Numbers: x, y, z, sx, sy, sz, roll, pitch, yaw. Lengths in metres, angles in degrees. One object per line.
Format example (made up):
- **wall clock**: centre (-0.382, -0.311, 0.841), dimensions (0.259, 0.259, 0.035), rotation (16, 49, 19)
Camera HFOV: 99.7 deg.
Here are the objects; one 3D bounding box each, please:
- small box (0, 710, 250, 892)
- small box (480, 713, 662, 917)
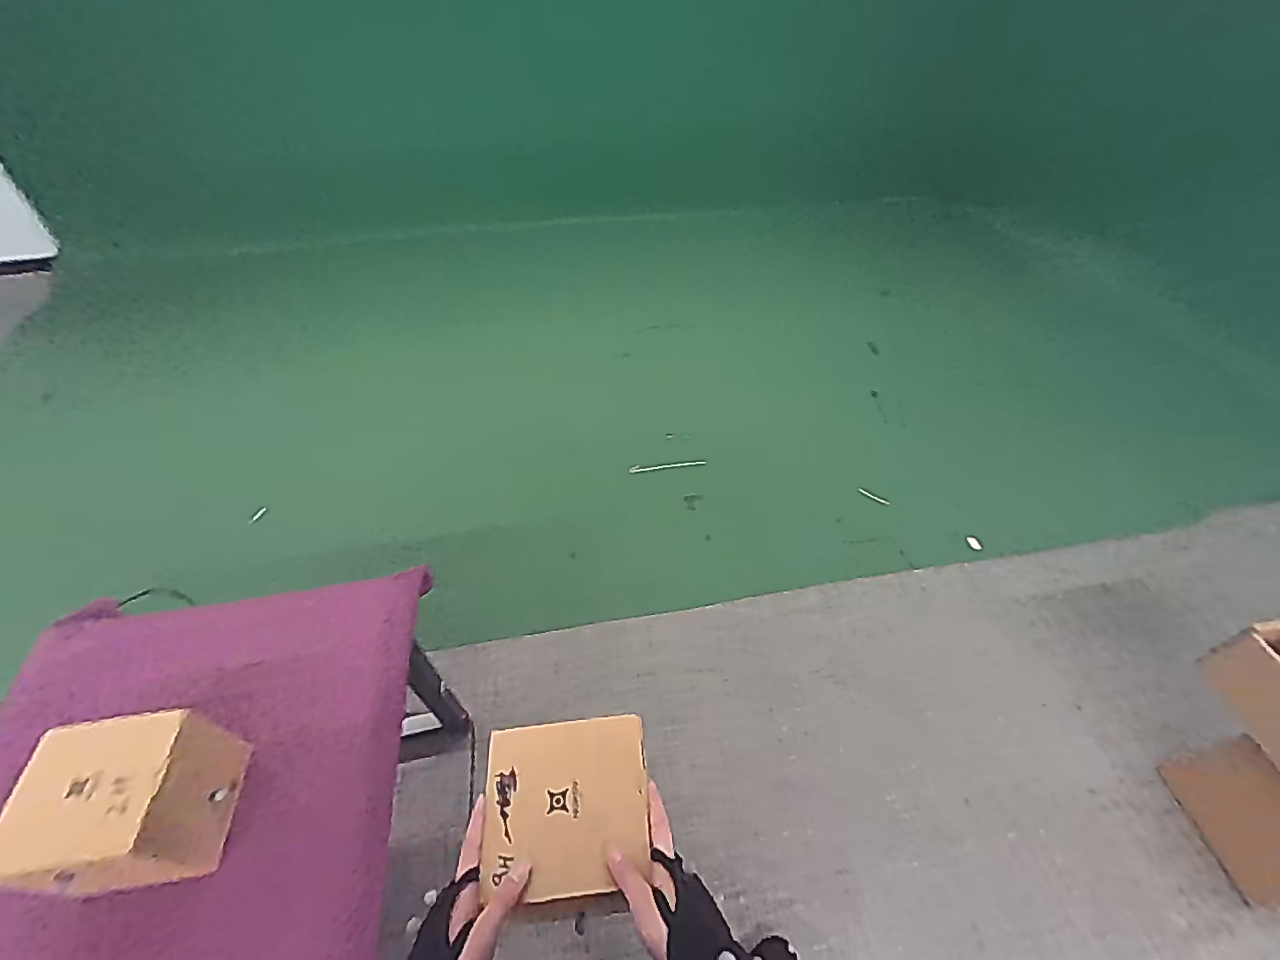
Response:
- **small box**: centre (-0.678, 0.430, 0.722), dimensions (0.179, 0.176, 0.168), rotation (-7, 49, -6)
- **small box**: centre (-0.070, 0.390, 0.629), dimensions (0.179, 0.176, 0.168), rotation (-4, 46, -2)
